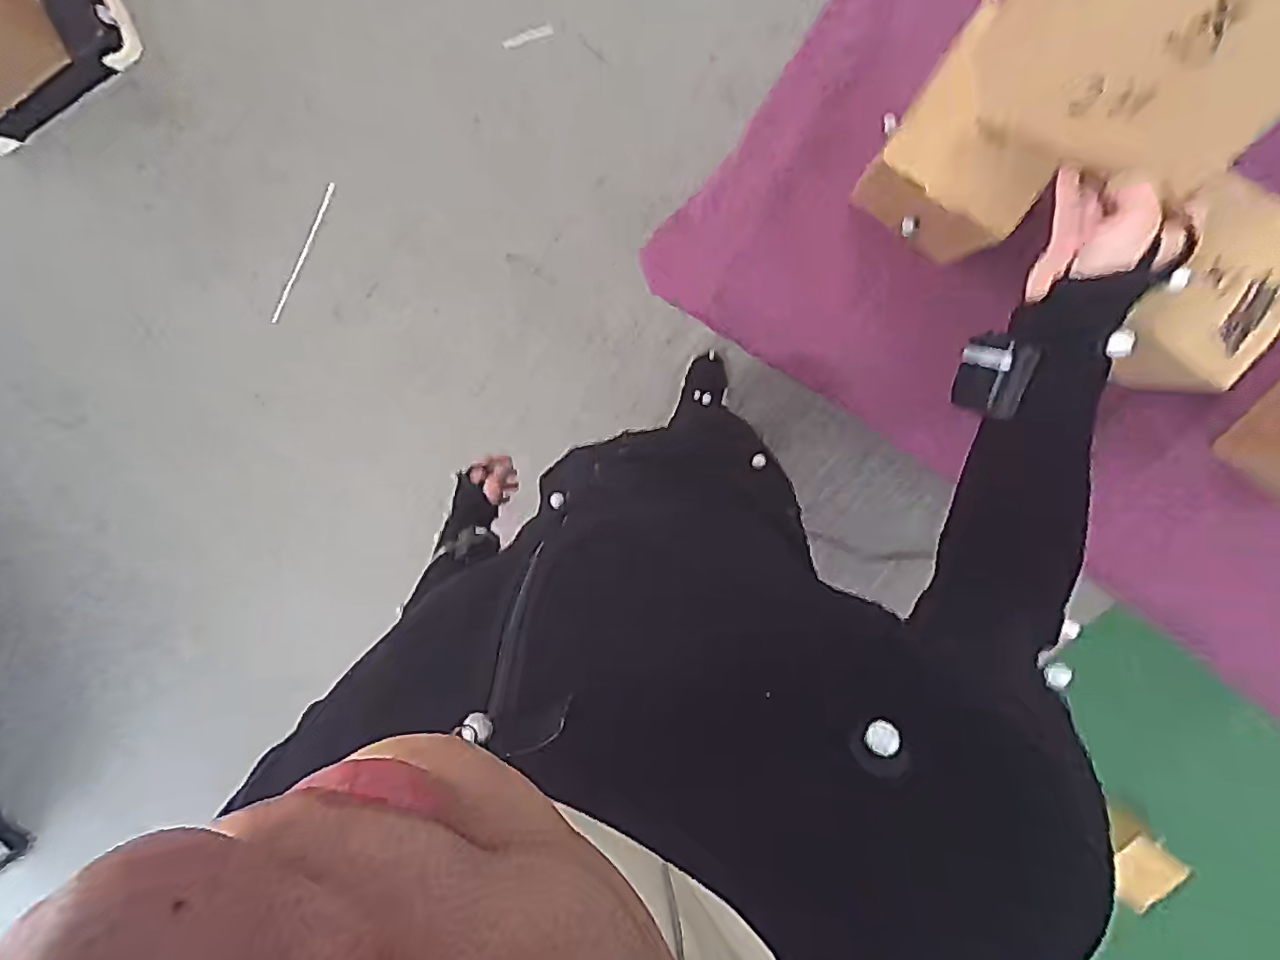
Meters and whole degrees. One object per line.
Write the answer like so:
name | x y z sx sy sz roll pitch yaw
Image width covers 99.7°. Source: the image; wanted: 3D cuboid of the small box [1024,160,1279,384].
small box | 0.624 -0.235 0.648 0.179 0.176 0.168 34 106 1

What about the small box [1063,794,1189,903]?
small box | 1.401 1.060 1.575 0.179 0.176 0.168 34 105 -1

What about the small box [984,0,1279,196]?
small box | 0.379 -0.353 0.387 0.168 0.176 0.179 24 144 -2

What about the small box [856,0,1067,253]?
small box | 0.385 -0.400 0.648 0.168 0.176 0.179 33 107 0

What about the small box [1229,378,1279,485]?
small box | 0.890 -0.056 0.647 0.168 0.176 0.179 34 105 0
